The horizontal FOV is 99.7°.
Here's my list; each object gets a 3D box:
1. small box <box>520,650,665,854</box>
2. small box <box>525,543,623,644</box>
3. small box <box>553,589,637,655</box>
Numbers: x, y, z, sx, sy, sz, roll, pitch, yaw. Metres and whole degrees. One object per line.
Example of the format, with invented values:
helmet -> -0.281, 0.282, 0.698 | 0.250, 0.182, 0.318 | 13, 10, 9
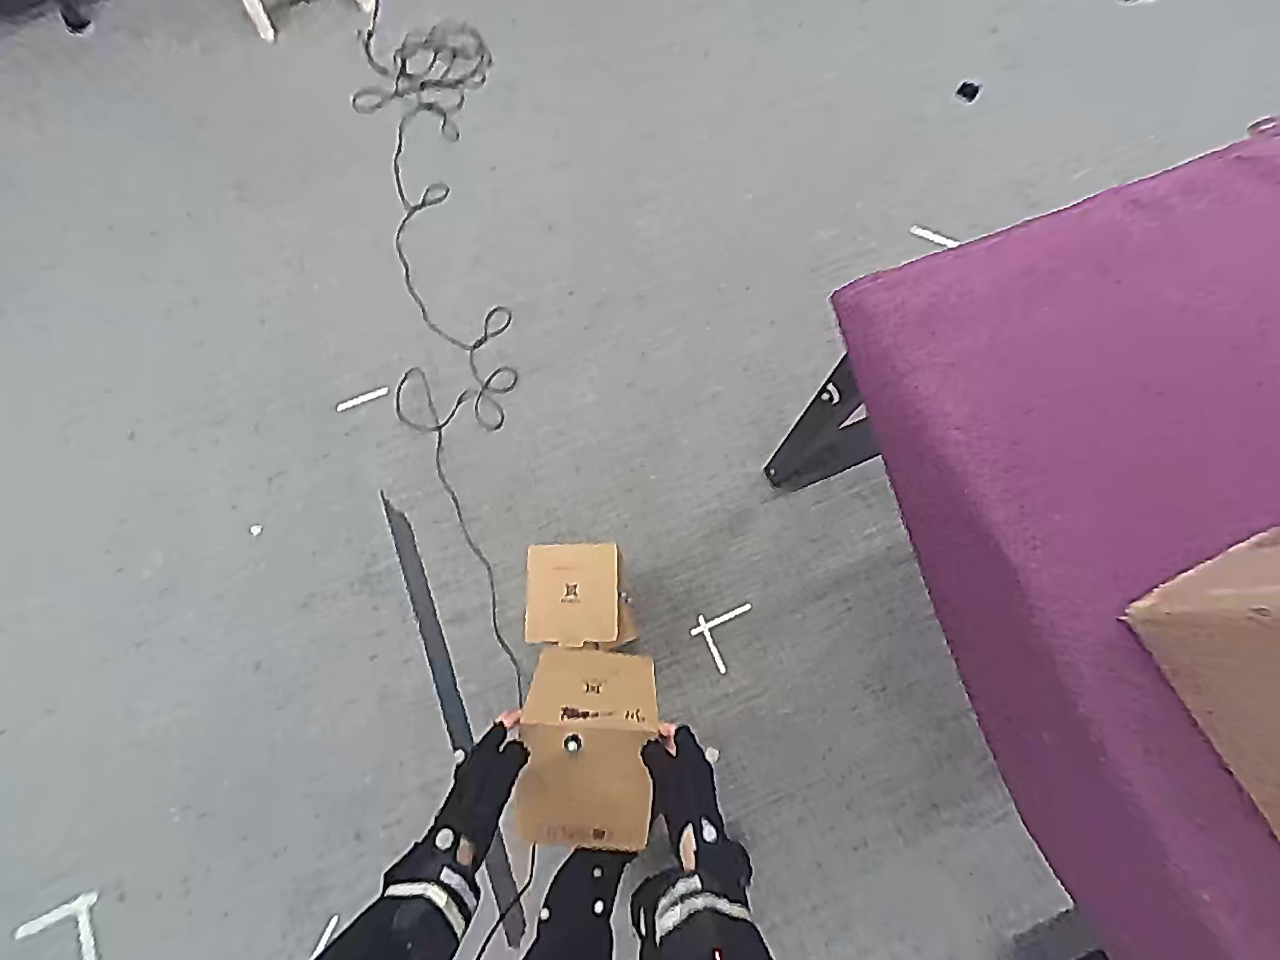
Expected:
small box -> -0.061, 0.348, 0.717 | 0.168, 0.179, 0.176 | 5, 98, -2
small box -> -0.120, 0.219, 1.038 | 0.168, 0.176, 0.179 | -2, 74, 0
small box -> -0.111, 0.291, 1.186 | 0.168, 0.176, 0.179 | -20, 75, -4
